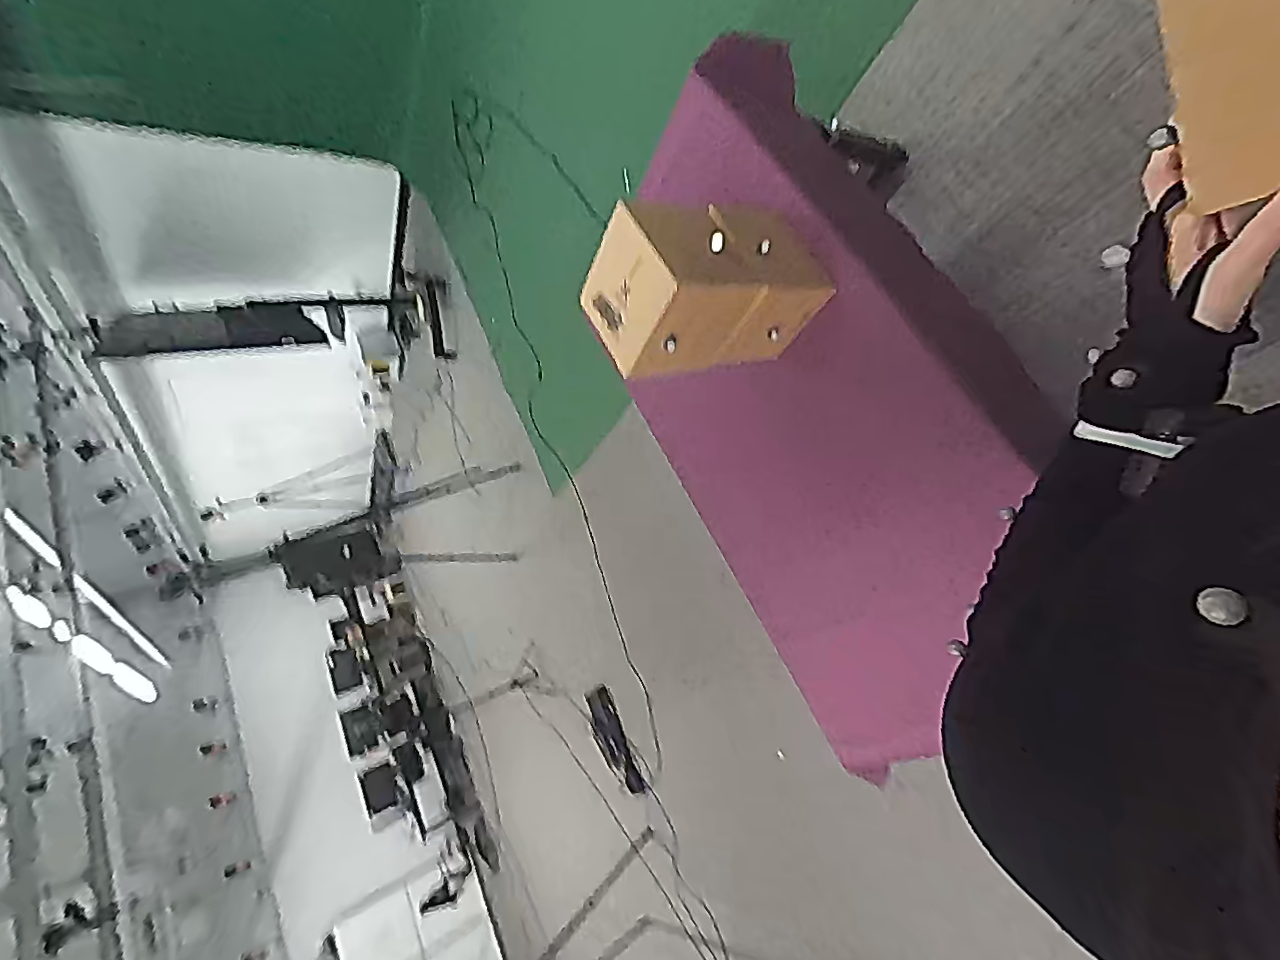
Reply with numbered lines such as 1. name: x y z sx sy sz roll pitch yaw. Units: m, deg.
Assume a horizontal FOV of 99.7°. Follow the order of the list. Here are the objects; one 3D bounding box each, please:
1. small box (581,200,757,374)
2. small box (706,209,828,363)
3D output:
1. small box: 0.040 -0.282 0.811 0.168 0.176 0.179 61 142 20
2. small box: 0.175 -0.320 0.899 0.179 0.176 0.168 63 143 18
